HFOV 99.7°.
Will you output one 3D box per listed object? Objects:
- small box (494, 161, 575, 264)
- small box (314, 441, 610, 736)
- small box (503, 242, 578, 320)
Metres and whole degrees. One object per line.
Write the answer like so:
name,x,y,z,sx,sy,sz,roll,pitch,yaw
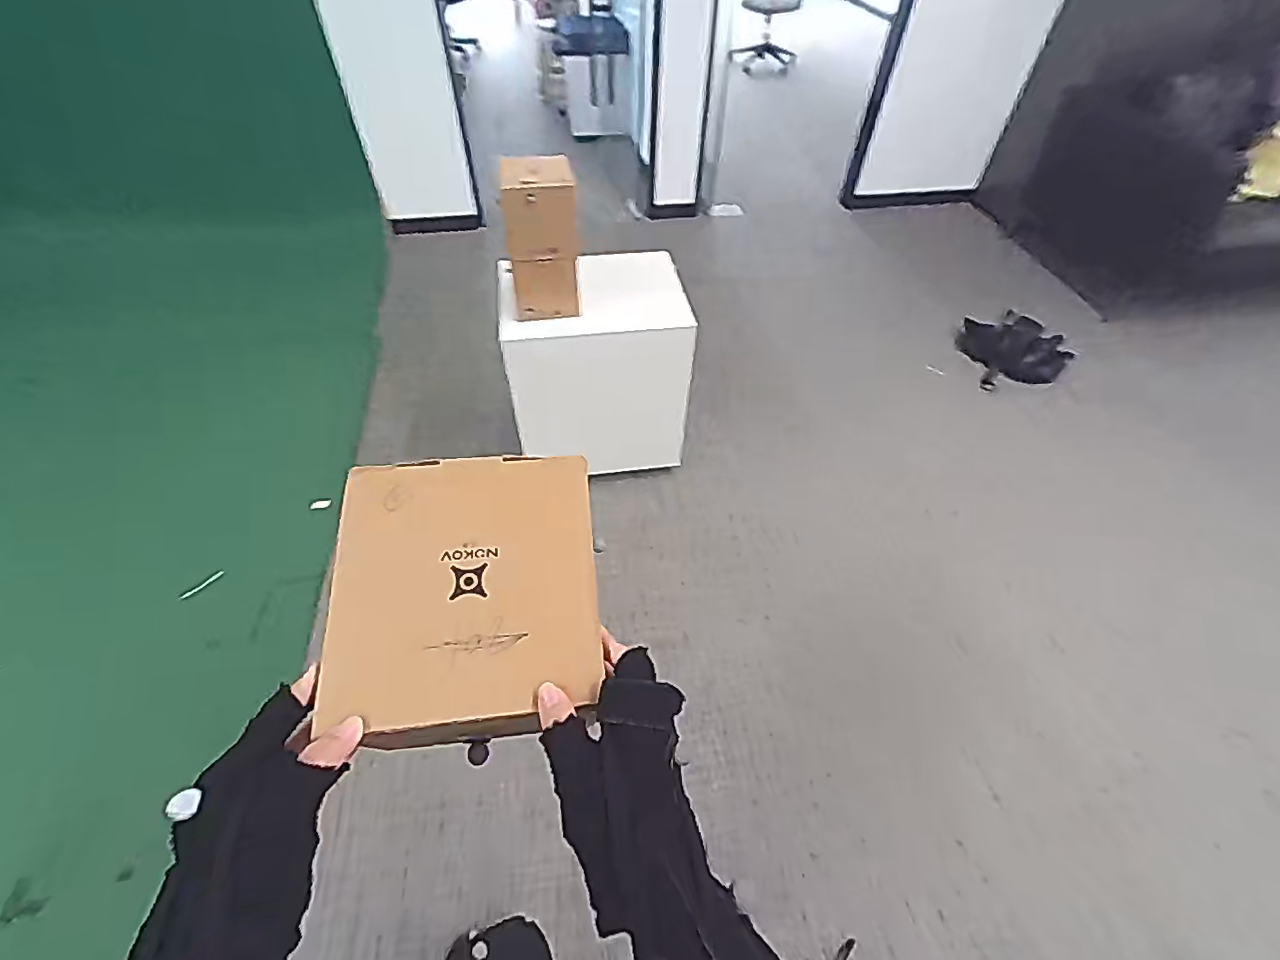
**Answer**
small box,-0.251,-0.639,1.291,0.168,0.176,0.179,-9,50,-9
small box,-0.116,0.088,0.415,0.168,0.176,0.179,-3,62,-9
small box,-0.259,-0.533,1.415,0.168,0.176,0.179,-9,50,-9
